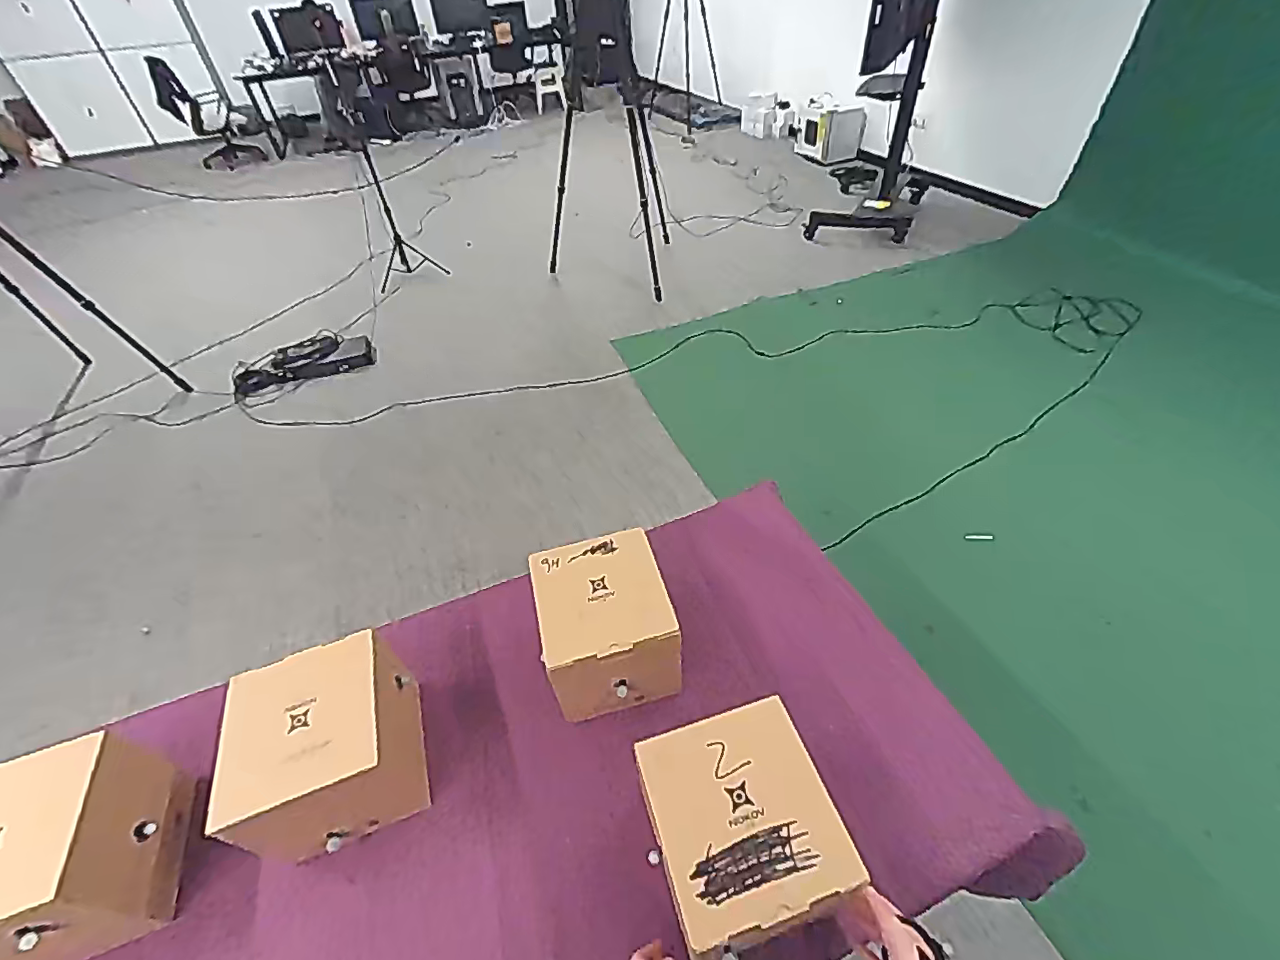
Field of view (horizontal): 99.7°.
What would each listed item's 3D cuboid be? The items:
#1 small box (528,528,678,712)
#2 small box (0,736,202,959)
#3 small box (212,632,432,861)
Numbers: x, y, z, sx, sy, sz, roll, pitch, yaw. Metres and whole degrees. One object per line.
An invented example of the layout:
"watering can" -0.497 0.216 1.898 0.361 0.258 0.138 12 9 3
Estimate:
"small box" -0.048 0.200 0.752 0.168 0.176 0.179 -14 46 -8
"small box" -0.634 0.420 0.594 0.179 0.176 0.168 -18 46 -12
"small box" -0.372 0.325 0.664 0.168 0.176 0.179 -19 47 -12
